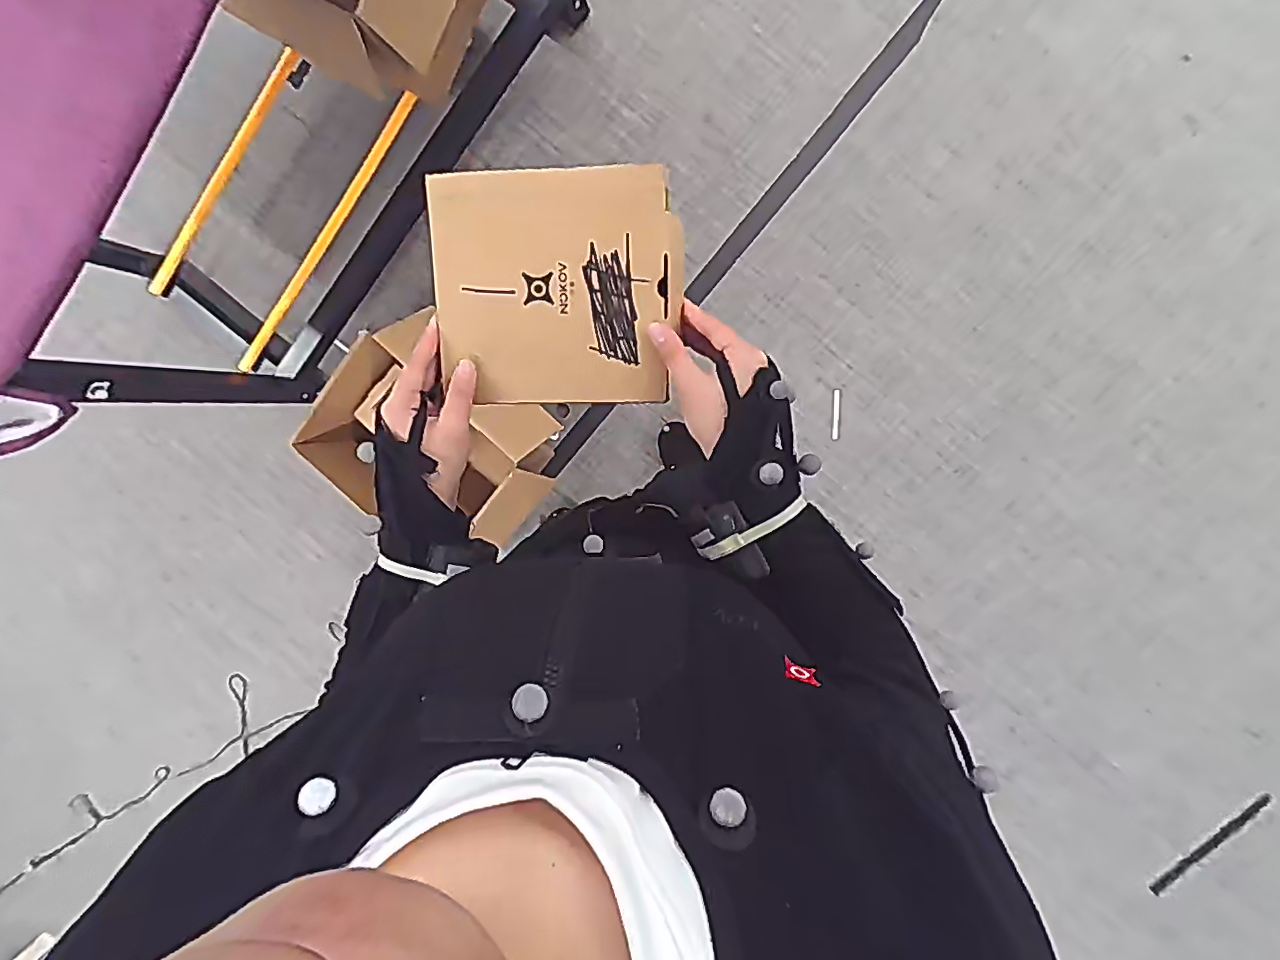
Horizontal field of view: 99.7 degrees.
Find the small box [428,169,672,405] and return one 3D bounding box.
[{"bbox_3d":[-0.060,-0.153,0.474,0.179,0.176,0.168,0,101,4],"label":"small box"}]
